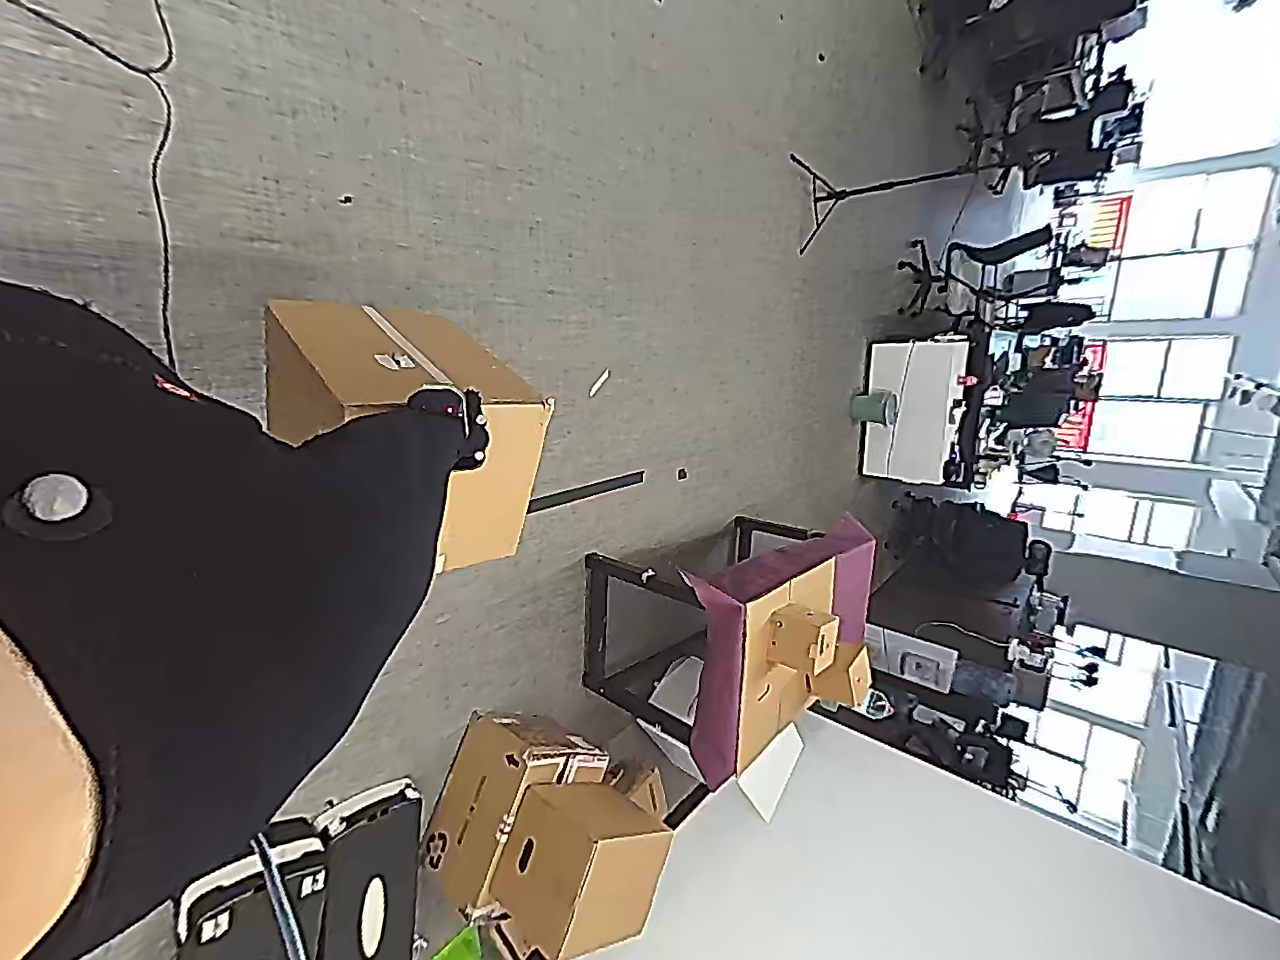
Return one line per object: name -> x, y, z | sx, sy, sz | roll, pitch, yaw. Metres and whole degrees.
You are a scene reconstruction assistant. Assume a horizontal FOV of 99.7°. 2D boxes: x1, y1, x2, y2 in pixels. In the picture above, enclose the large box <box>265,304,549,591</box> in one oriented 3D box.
large box -> -0.431, -0.075, 0.959 | 0.320, 0.408, 0.320 | -10, 130, -45
